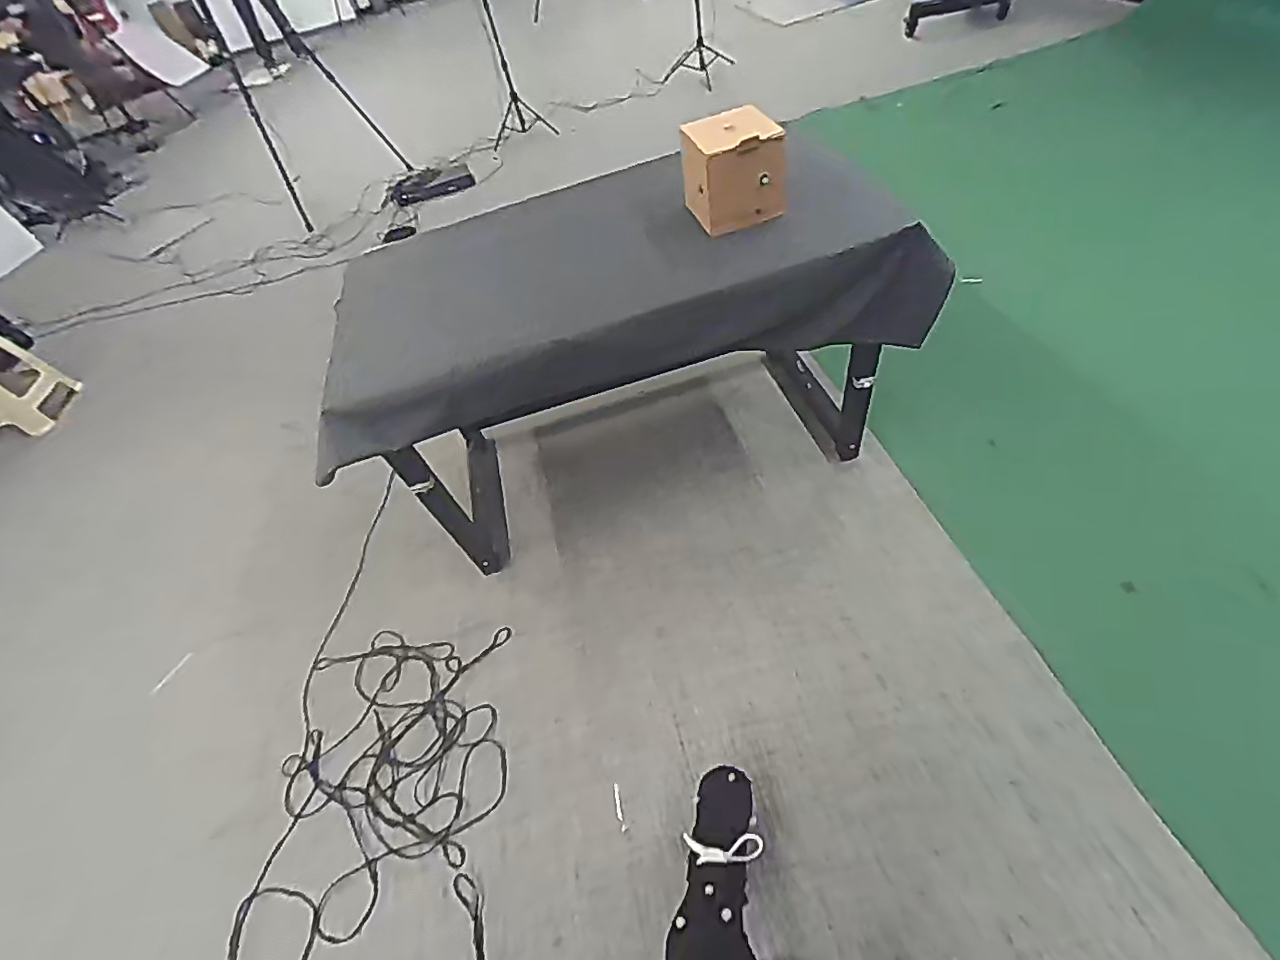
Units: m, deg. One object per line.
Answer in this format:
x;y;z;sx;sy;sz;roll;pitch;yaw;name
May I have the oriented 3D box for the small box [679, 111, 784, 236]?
0.193;-0.641;1.144;0.168;0.176;0.179;-18;50;-3;small box
